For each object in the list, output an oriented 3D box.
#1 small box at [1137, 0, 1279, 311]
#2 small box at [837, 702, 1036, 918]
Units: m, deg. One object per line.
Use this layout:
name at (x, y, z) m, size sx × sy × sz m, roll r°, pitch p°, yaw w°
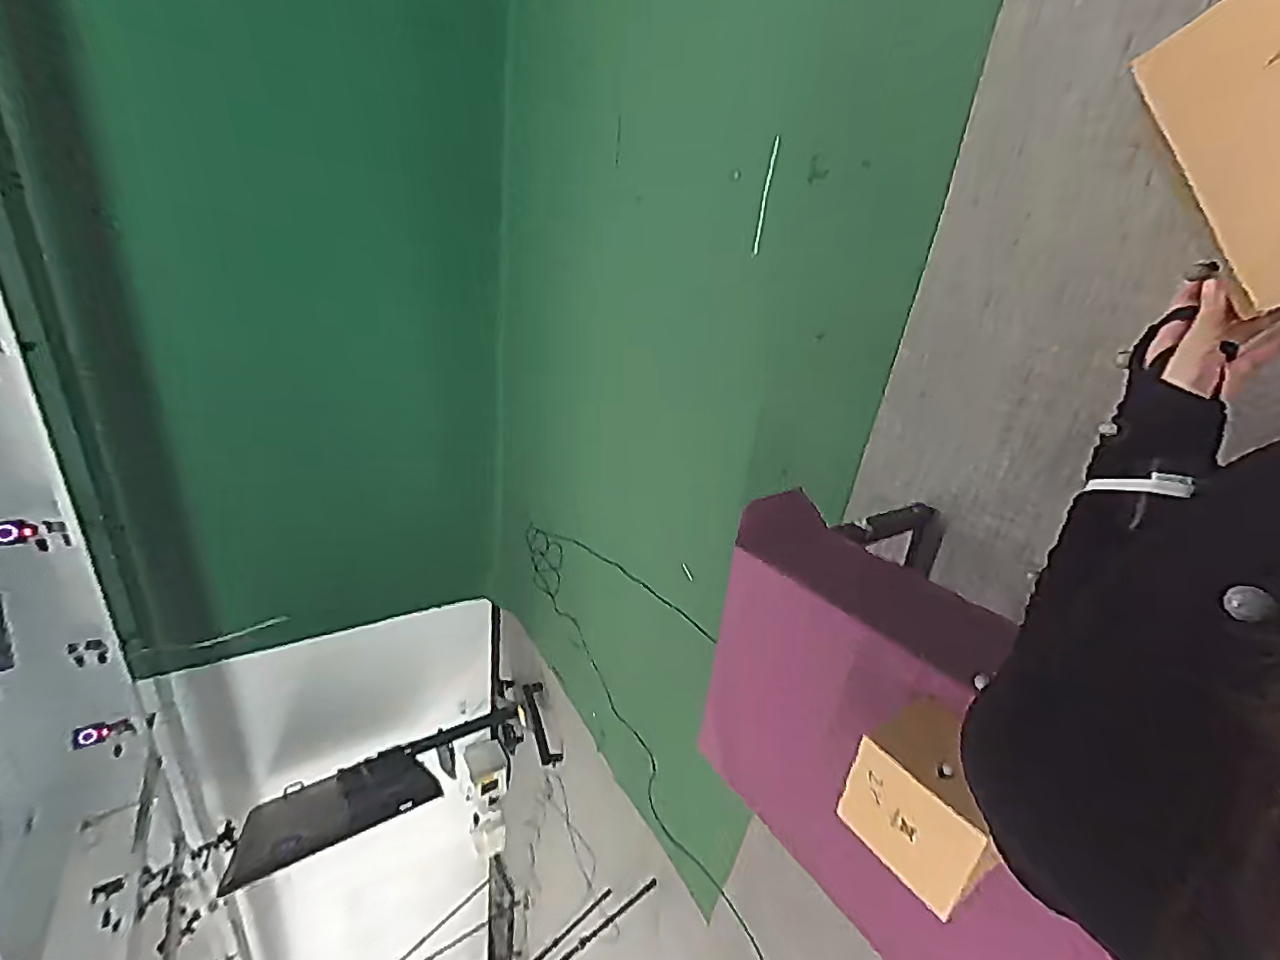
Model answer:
small box at (0.444, -0.220, 0.327) m, size 0.168 × 0.176 × 0.179 m, roll -25°, pitch 82°, yaw 45°
small box at (0.426, 0.459, 0.784) m, size 0.179 × 0.176 × 0.168 m, roll 34°, pitch 124°, yaw 48°
